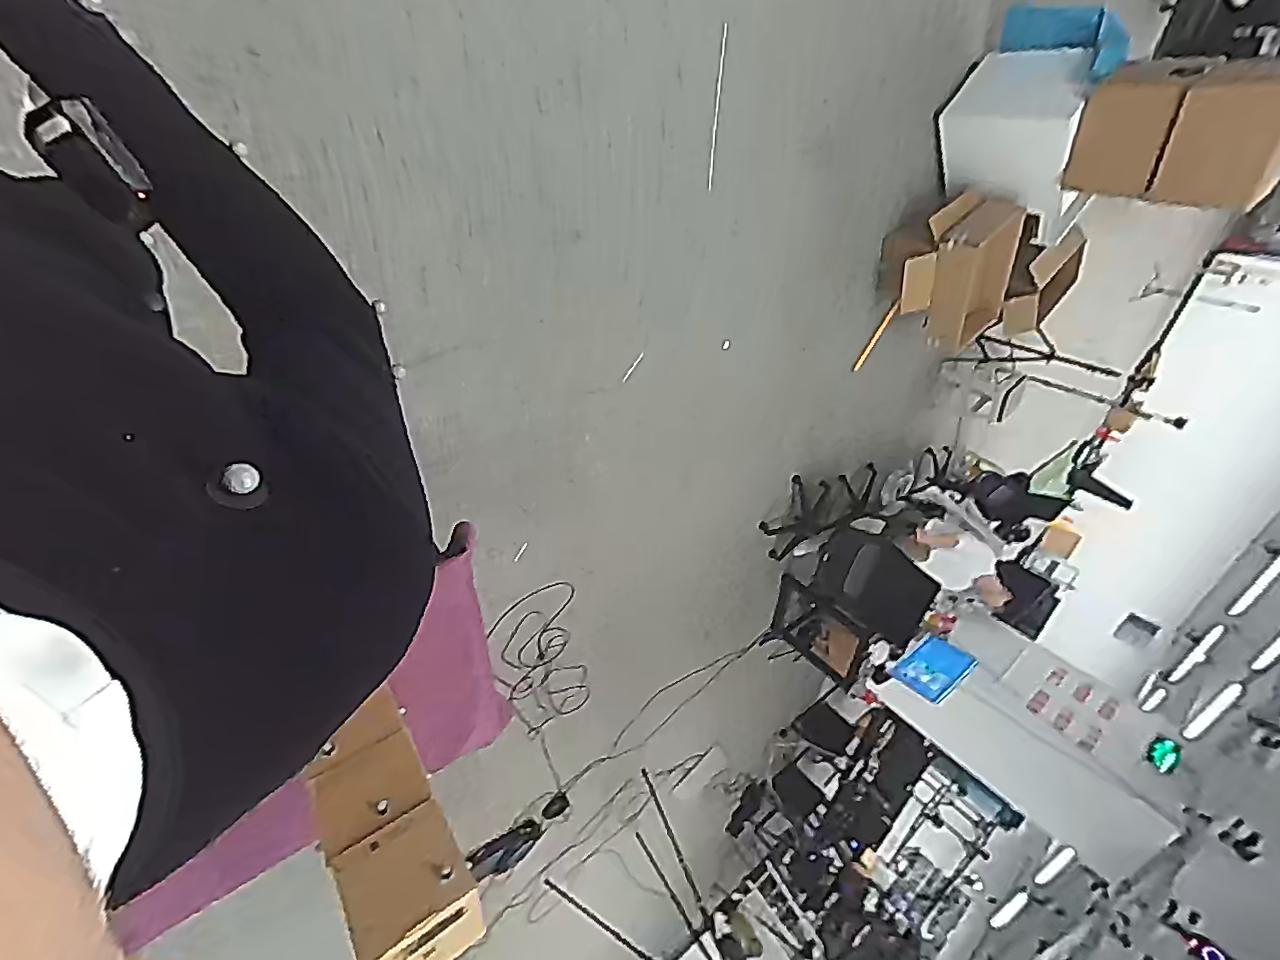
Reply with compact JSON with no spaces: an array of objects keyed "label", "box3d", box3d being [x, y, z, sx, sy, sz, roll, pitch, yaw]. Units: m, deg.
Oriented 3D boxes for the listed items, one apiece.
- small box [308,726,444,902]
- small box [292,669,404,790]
[{"label":"small box","box3d":[-0.480,0.594,0.979,0.179,0.176,0.168,-21,130,-32]},{"label":"small box","box3d":[-0.577,0.521,1.086,0.179,0.176,0.168,-20,130,-32]}]
